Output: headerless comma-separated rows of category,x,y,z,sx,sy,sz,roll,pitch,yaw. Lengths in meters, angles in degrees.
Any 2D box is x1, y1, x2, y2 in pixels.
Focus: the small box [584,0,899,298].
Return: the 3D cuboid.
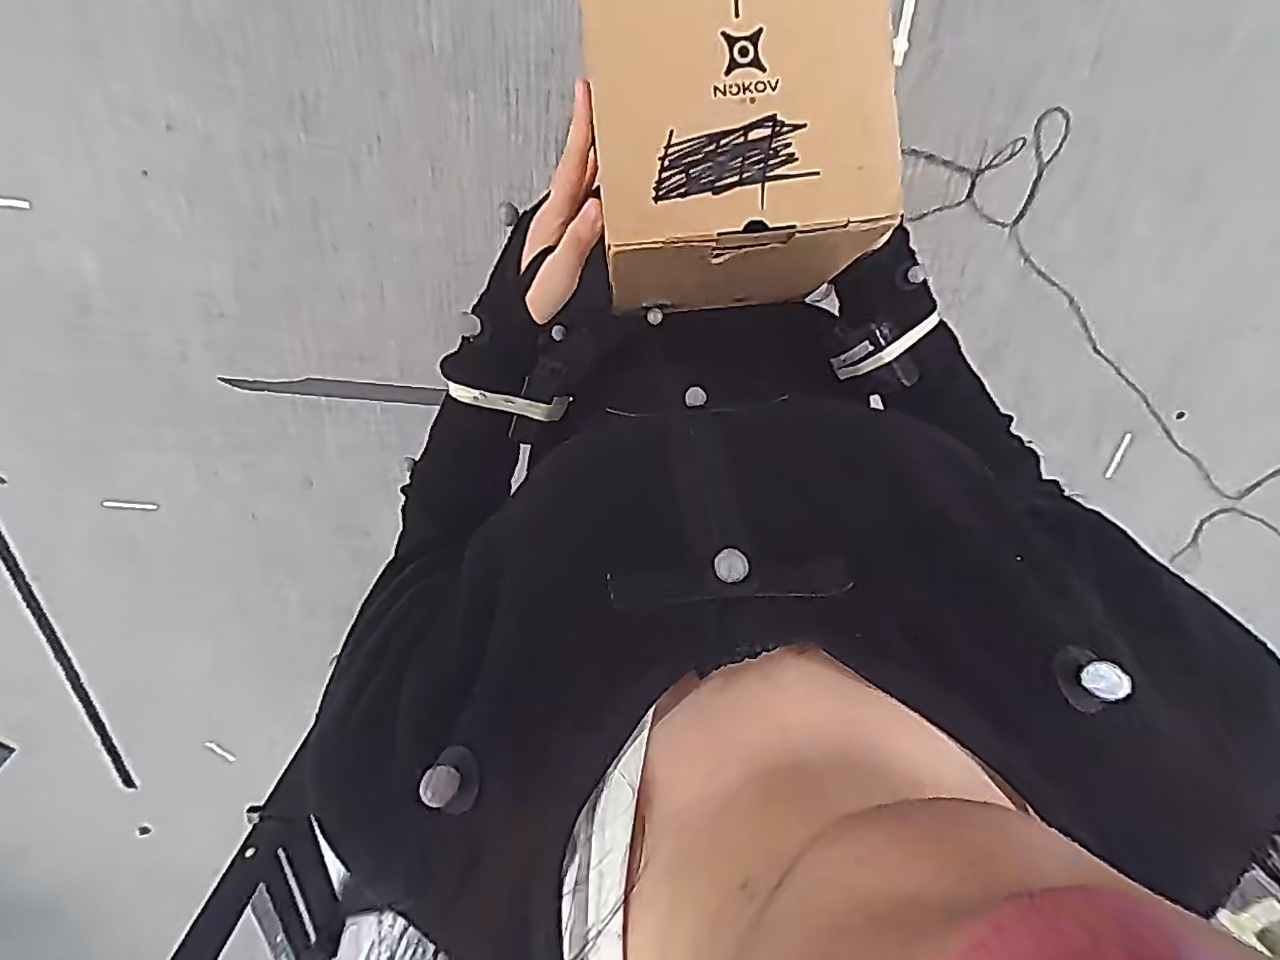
small box,0.054,-0.232,0.370,0.168,0.176,0.179,-6,93,-1
